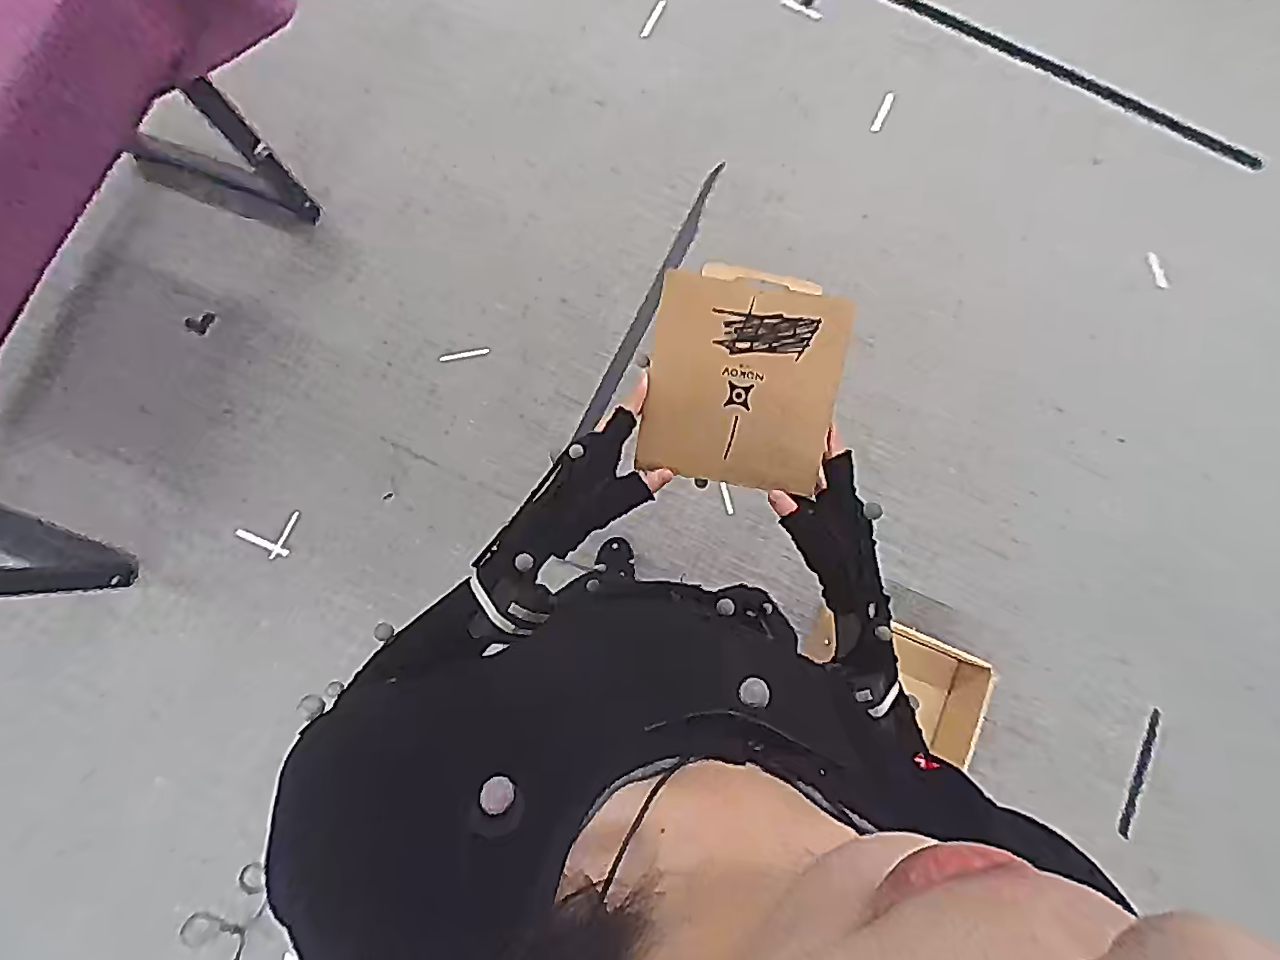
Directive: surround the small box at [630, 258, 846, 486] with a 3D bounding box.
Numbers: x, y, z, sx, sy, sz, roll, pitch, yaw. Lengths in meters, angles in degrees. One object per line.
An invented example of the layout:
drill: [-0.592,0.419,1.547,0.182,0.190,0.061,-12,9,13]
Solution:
small box: [0.085,-0.098,0.548,0.168,0.176,0.179,9,95,1]
